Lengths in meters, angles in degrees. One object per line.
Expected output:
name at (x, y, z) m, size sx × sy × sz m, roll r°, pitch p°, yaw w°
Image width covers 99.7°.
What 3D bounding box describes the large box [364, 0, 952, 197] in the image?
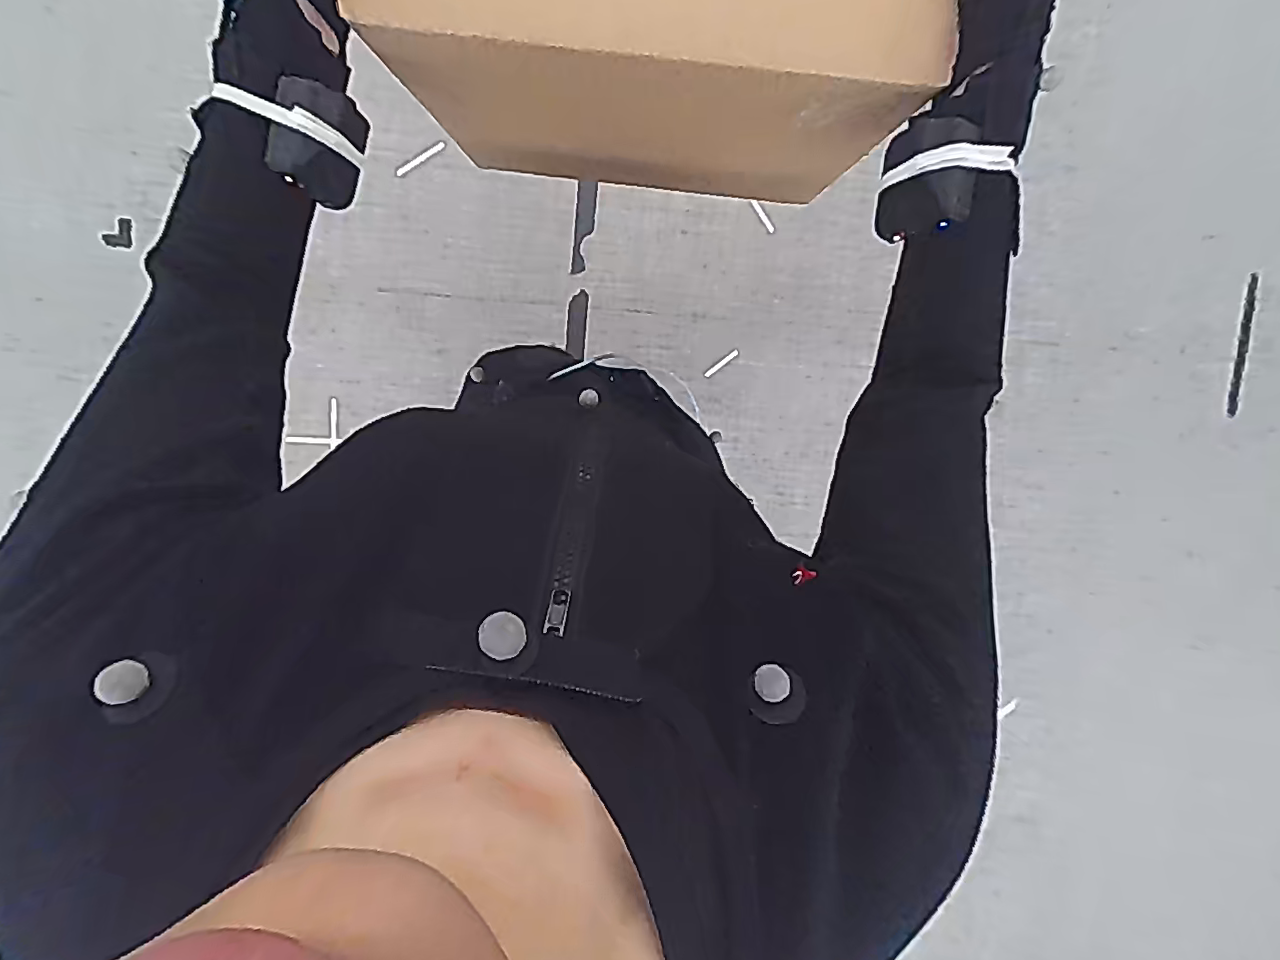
large box at (0.020, -0.473, 0.480) m, size 0.408 × 0.320 × 0.320 m, roll 5°, pitch 104°, yaw -2°
